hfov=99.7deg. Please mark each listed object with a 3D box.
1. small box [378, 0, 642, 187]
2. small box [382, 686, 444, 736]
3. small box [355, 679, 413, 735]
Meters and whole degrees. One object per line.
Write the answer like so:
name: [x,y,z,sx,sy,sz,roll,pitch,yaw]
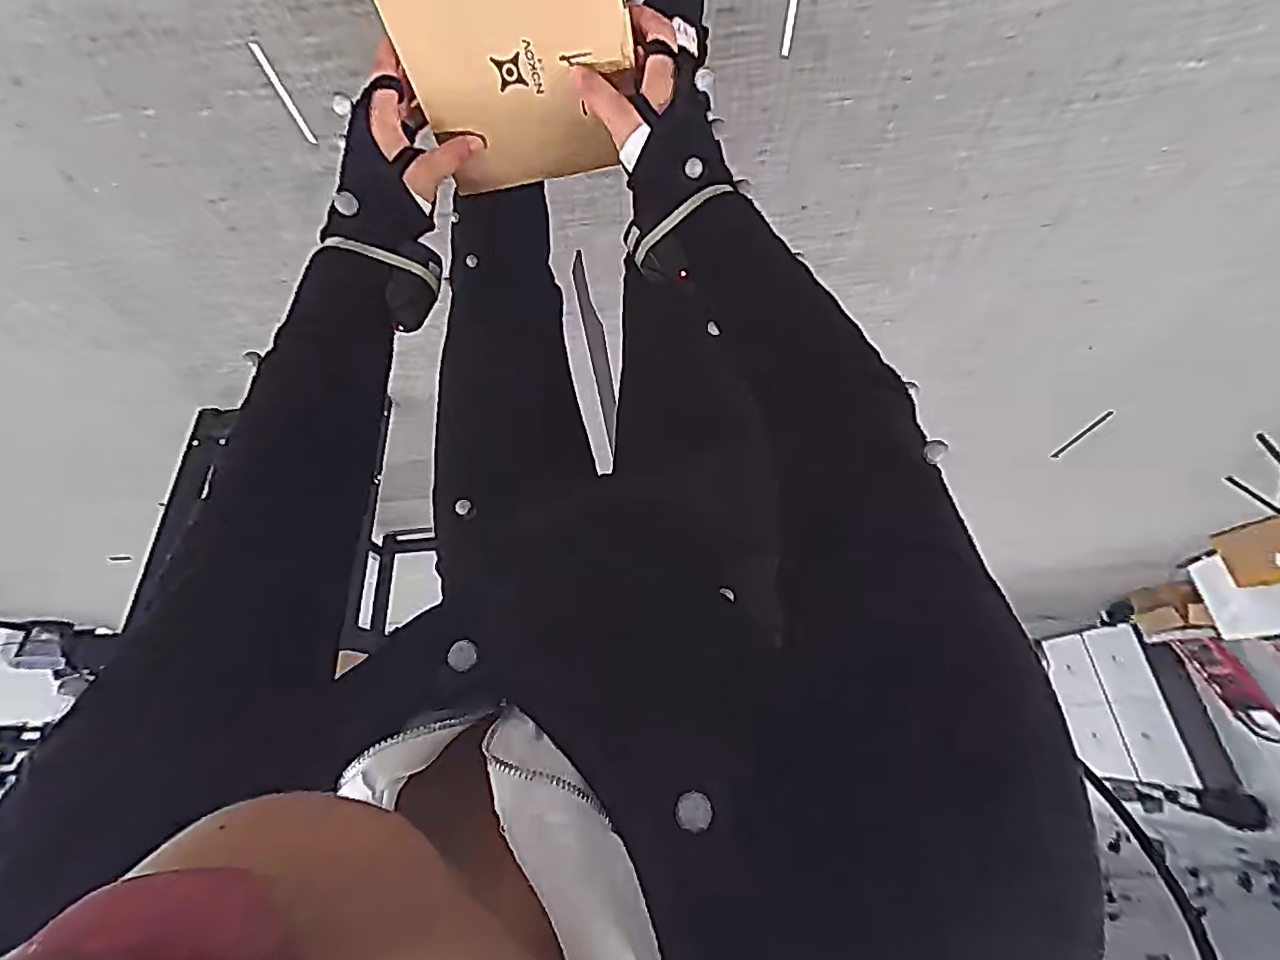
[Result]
small box: [-0.097,-0.387,0.464,0.179,0.176,0.168,-8,146,5]
small box: [-0.897,0.915,2.146,0.168,0.176,0.179,-5,154,3]
small box: [-0.921,0.803,1.910,0.179,0.176,0.168,-4,154,2]
